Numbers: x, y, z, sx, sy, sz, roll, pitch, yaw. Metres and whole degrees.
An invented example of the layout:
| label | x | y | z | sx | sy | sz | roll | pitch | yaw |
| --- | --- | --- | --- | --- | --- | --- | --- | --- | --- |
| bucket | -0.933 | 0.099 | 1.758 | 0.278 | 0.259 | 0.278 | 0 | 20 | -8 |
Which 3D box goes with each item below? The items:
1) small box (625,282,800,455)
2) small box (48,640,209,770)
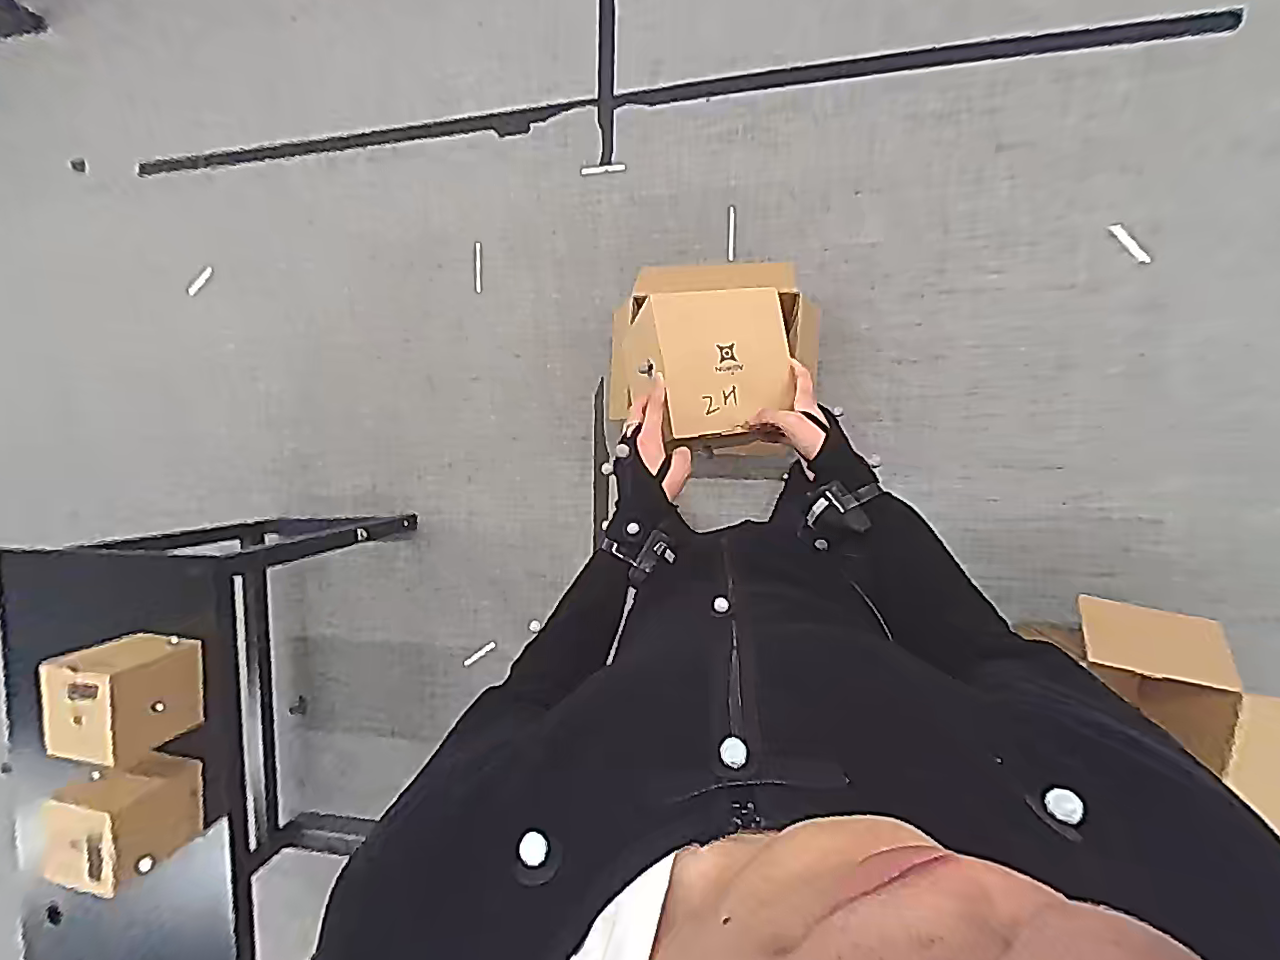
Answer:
| label | x | y | z | sx | sy | sz | roll | pitch | yaw |
| --- | --- | --- | --- | --- | --- | --- | --- | --- | --- |
| small box | 0.082 | -0.138 | 0.710 | 0.168 | 0.176 | 0.179 | -8 | 86 | -13 |
| small box | -0.996 | 0.431 | 1.066 | 0.168 | 0.176 | 0.179 | 2 | 95 | 12 |
